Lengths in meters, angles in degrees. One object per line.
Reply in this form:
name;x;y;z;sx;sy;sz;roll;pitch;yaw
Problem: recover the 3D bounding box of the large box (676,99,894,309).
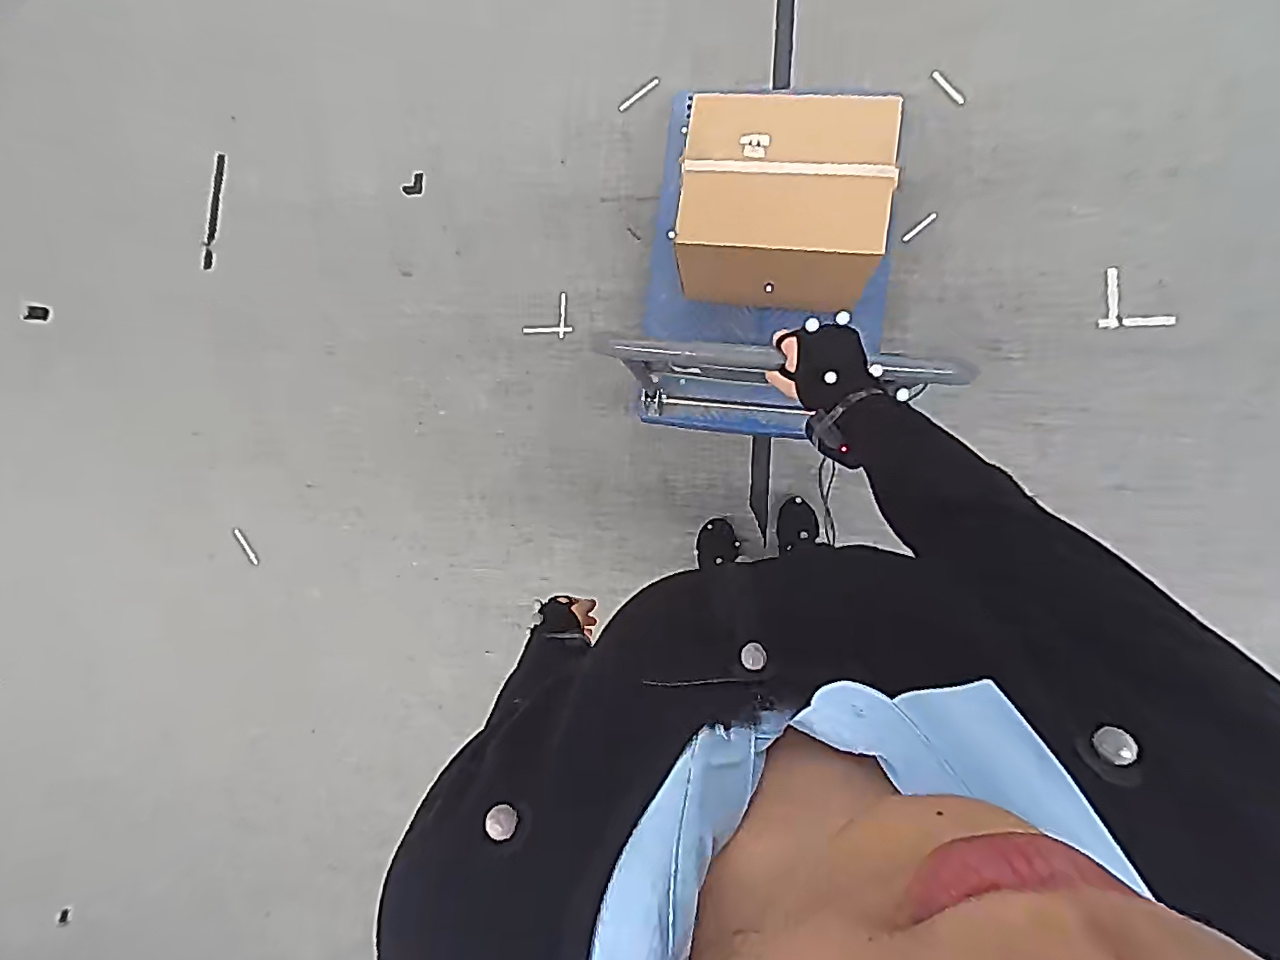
large box;0.310;-0.595;1.219;0.408;0.320;0.320;7;87;10
